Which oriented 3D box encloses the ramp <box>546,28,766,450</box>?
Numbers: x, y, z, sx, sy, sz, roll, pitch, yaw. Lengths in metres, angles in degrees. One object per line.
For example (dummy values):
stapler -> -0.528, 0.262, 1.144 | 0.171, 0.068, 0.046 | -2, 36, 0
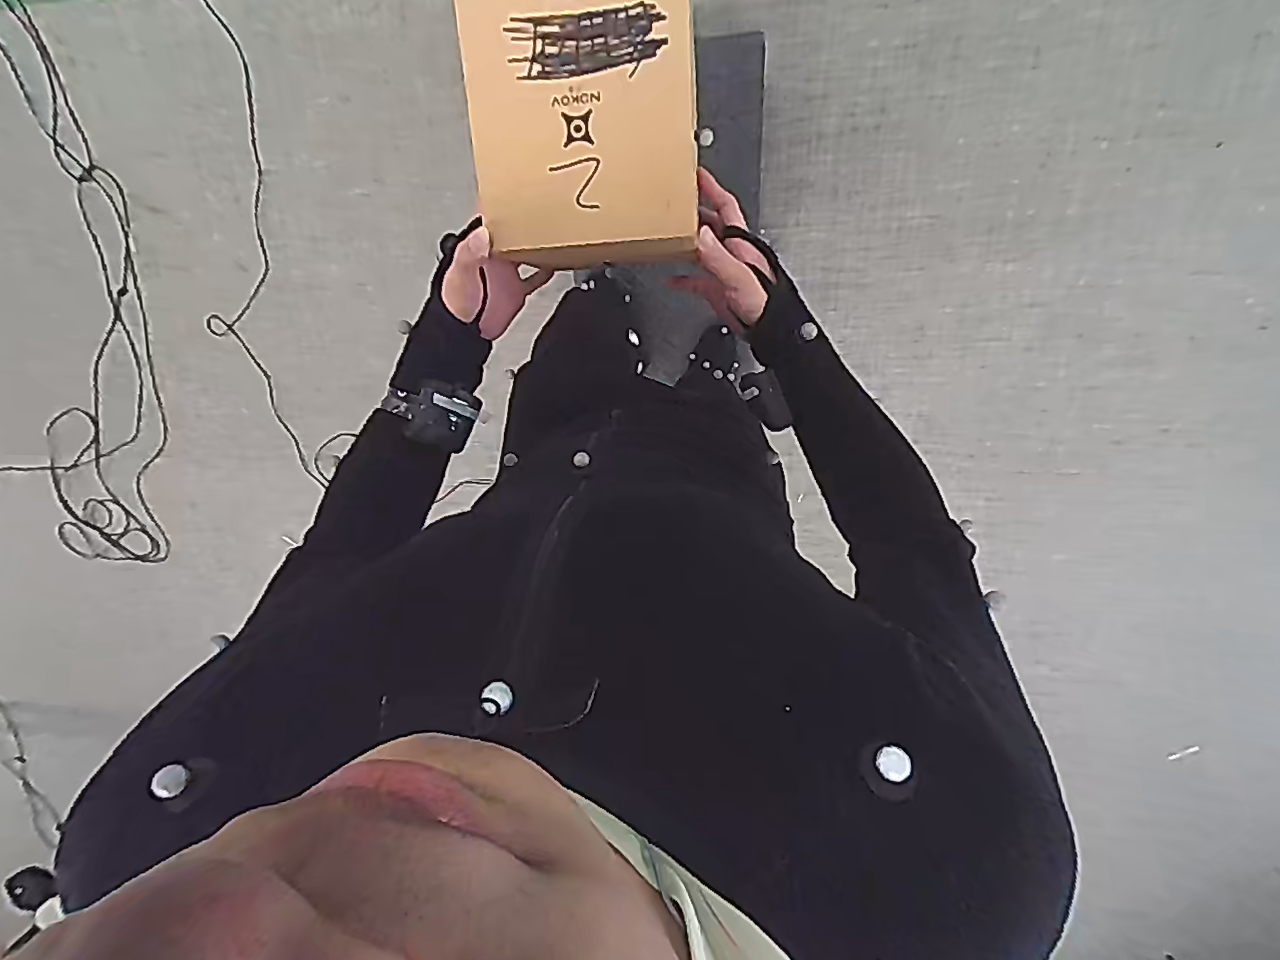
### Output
ramp -> 0.066, -0.527, 1.422 | 0.509, 0.206, 0.991 | -2, 110, 8
